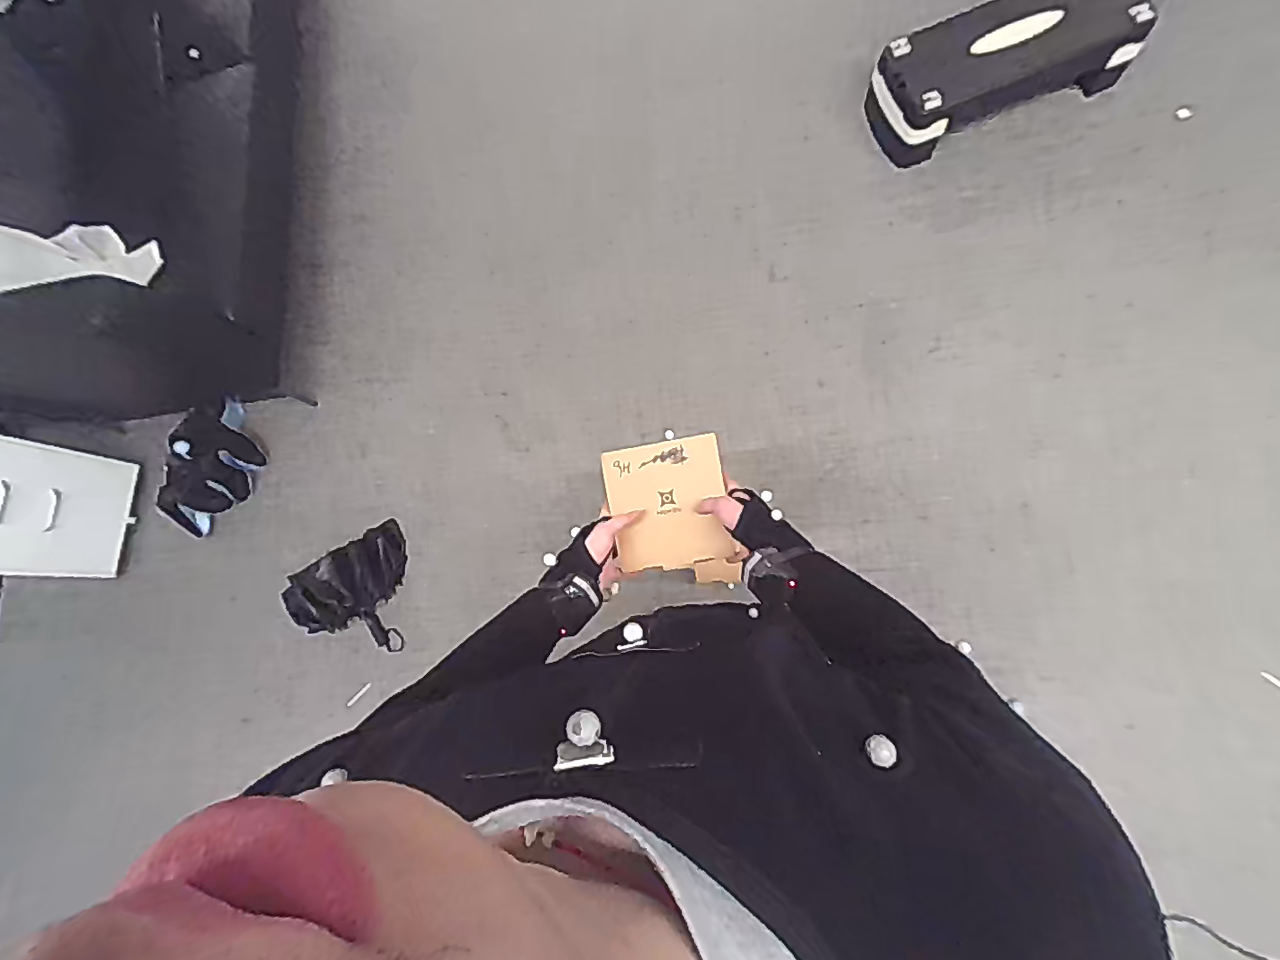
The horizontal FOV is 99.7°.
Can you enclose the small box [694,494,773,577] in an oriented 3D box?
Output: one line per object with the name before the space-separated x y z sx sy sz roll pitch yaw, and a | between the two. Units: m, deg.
small box | 0.227 0.140 1.308 0.168 0.176 0.179 -7 78 9
